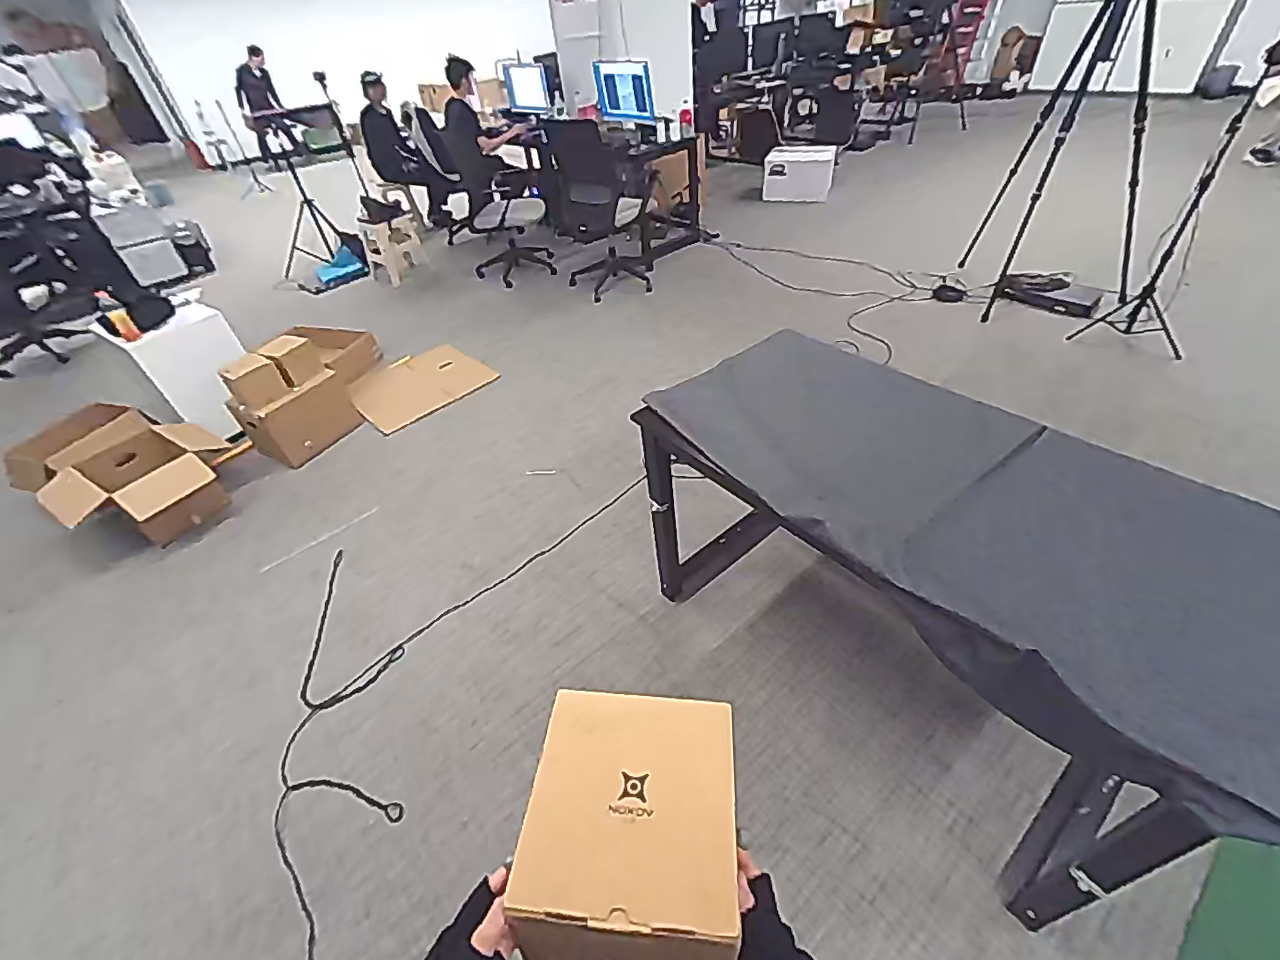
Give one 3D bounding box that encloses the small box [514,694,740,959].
[{"bbox_3d":[-0.002,0.328,0.494,0.168,0.176,0.179,3,36,5],"label":"small box"}]
